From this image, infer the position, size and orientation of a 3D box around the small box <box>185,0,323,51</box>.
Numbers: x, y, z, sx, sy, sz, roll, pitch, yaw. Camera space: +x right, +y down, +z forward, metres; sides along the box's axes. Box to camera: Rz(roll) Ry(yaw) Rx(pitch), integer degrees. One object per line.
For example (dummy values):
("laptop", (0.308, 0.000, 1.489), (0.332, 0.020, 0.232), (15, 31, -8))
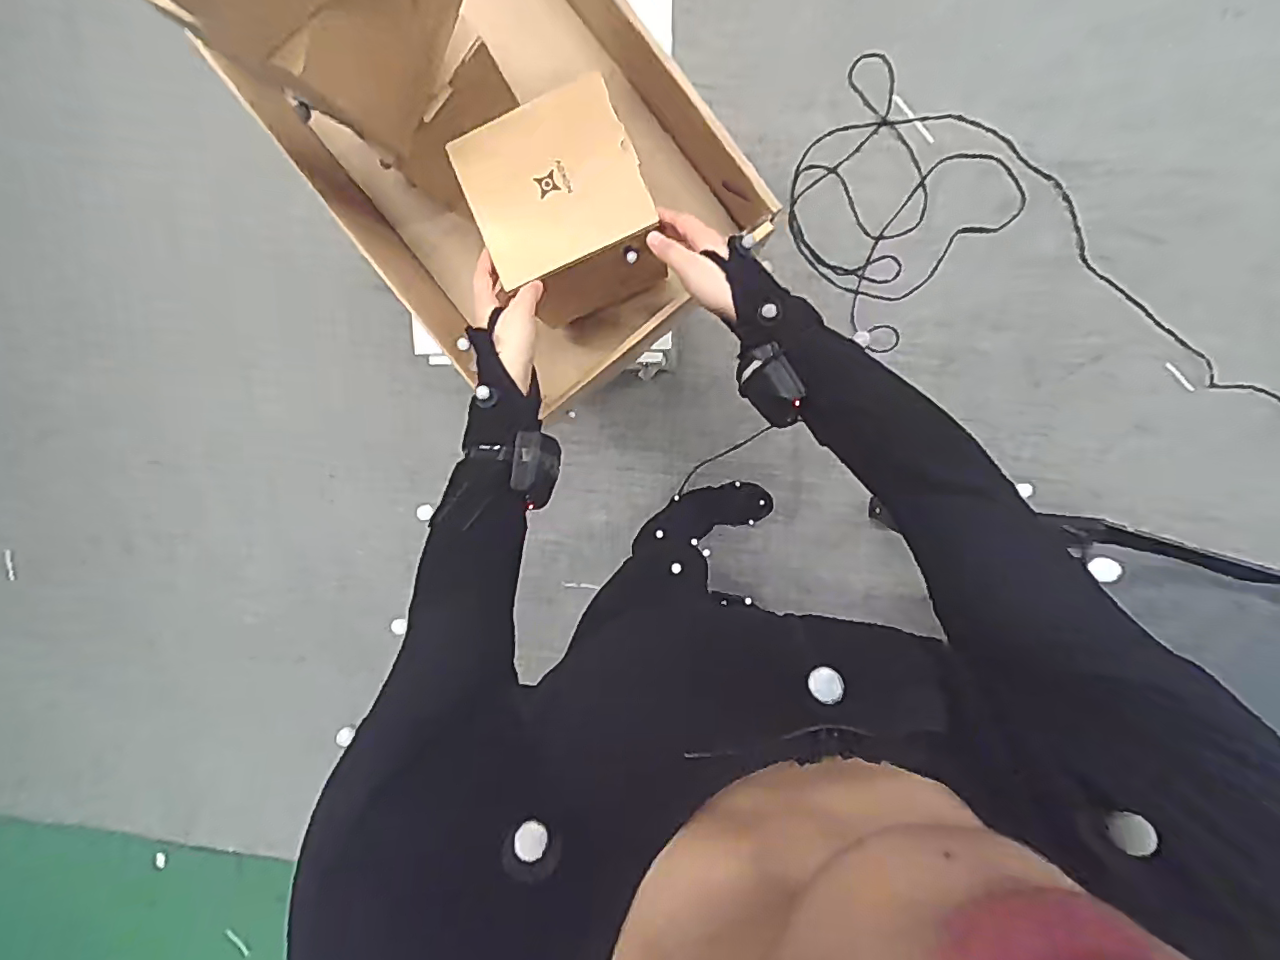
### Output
("small box", (-0.282, -0.433, 0.332), (0.179, 0.176, 0.168), (-32, 95, 10))

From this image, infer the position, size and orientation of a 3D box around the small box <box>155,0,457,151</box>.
("small box", (-0.294, -0.452, 0.498), (0.168, 0.176, 0.179), (27, 103, 1))
